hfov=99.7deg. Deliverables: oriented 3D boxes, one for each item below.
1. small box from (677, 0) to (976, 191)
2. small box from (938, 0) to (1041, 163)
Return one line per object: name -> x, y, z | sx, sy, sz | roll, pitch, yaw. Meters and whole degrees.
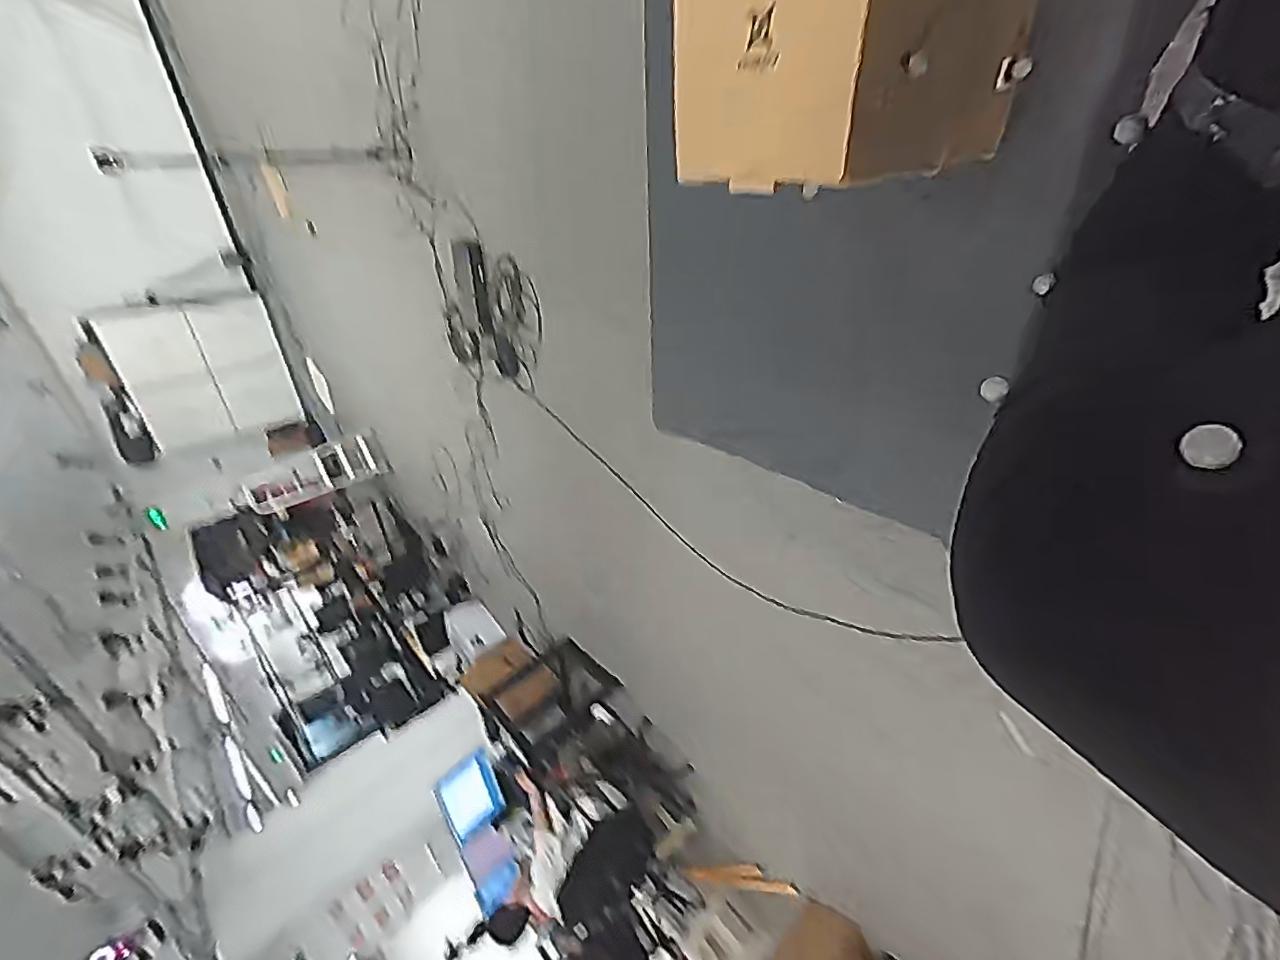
small box -> 0.148, -0.343, 0.441 | 0.168, 0.176, 0.179 | 28, 132, 44
small box -> 0.259, -0.409, 0.539 | 0.179, 0.176, 0.168 | 25, 132, 42
